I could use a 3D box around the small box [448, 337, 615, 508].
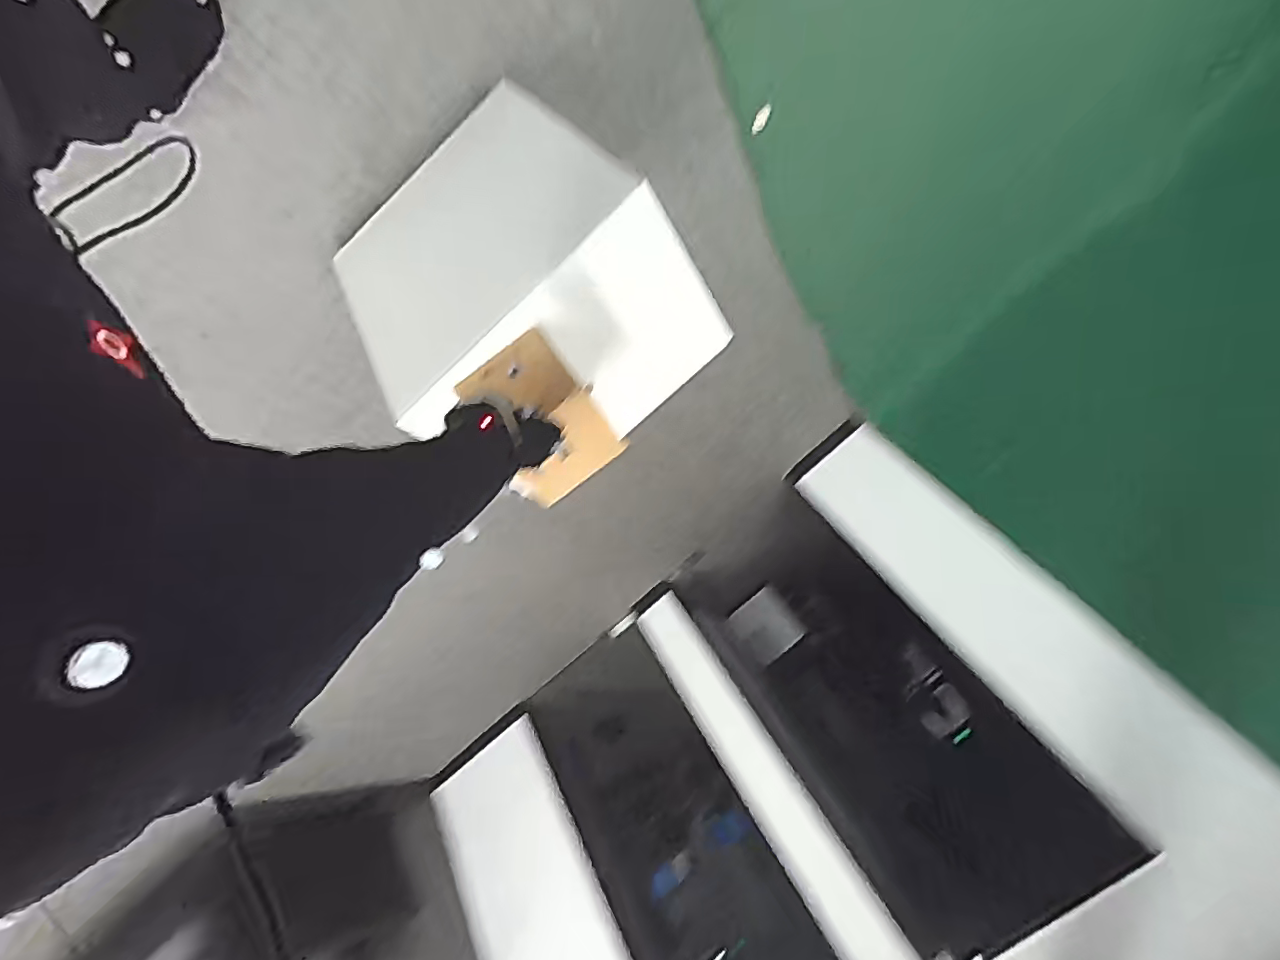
[{"bbox_3d":[-0.171,-0.091,0.861,0.168,0.176,0.179,-37,147,1],"label":"small box"}]
